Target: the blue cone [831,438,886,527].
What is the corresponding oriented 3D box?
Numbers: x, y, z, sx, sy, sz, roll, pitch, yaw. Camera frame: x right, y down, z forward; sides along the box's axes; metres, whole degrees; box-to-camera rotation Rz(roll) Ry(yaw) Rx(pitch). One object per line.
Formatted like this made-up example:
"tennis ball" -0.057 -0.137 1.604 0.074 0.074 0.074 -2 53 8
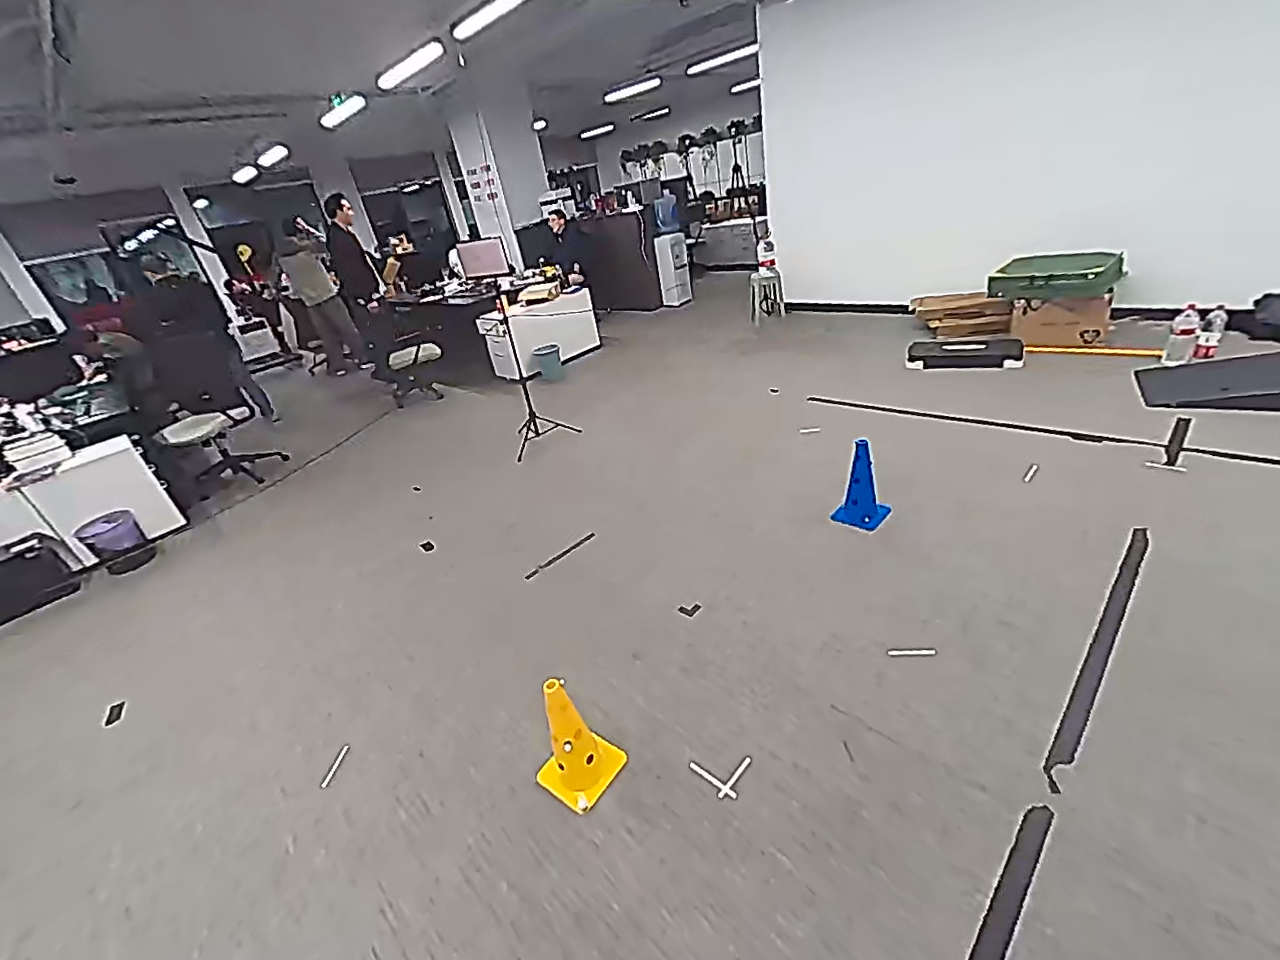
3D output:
"blue cone" 0.921 -0.001 2.275 0.193 0.380 0.192 -33 34 -34
